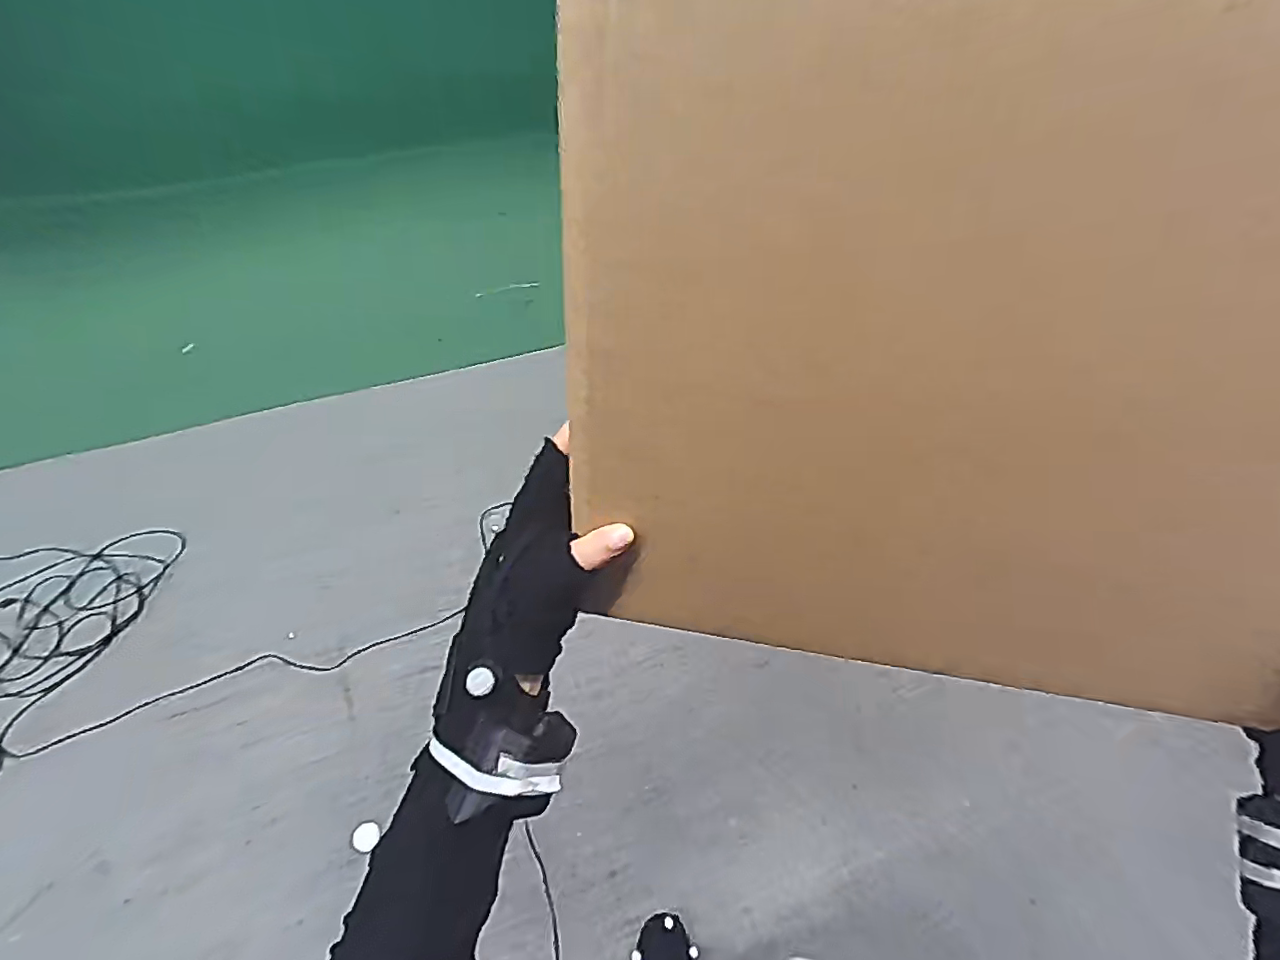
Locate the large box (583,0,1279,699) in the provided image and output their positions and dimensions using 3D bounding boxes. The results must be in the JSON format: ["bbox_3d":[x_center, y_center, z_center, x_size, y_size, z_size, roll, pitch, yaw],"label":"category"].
[{"bbox_3d":[0.187,-0.101,0.350,0.408,0.320,0.320,8,40,3],"label":"large box"}]
